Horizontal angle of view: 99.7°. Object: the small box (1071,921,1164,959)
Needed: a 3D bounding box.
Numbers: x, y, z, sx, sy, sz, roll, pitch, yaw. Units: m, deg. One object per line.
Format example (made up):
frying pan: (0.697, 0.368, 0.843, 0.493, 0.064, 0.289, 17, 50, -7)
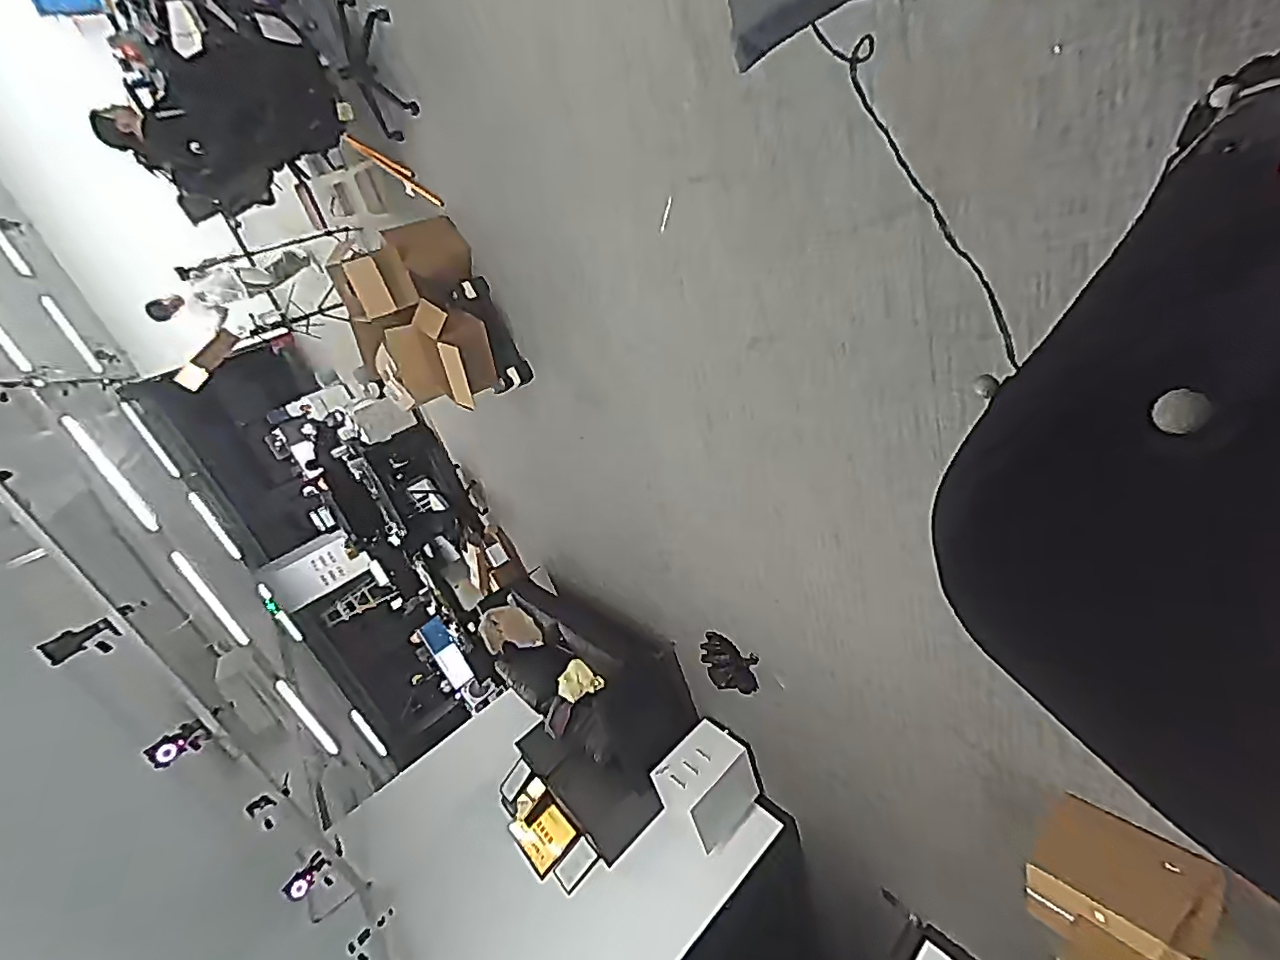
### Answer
small box: (1.384, 1.437, 1.566, 0.179, 0.176, 0.168, 14, 124, 53)
